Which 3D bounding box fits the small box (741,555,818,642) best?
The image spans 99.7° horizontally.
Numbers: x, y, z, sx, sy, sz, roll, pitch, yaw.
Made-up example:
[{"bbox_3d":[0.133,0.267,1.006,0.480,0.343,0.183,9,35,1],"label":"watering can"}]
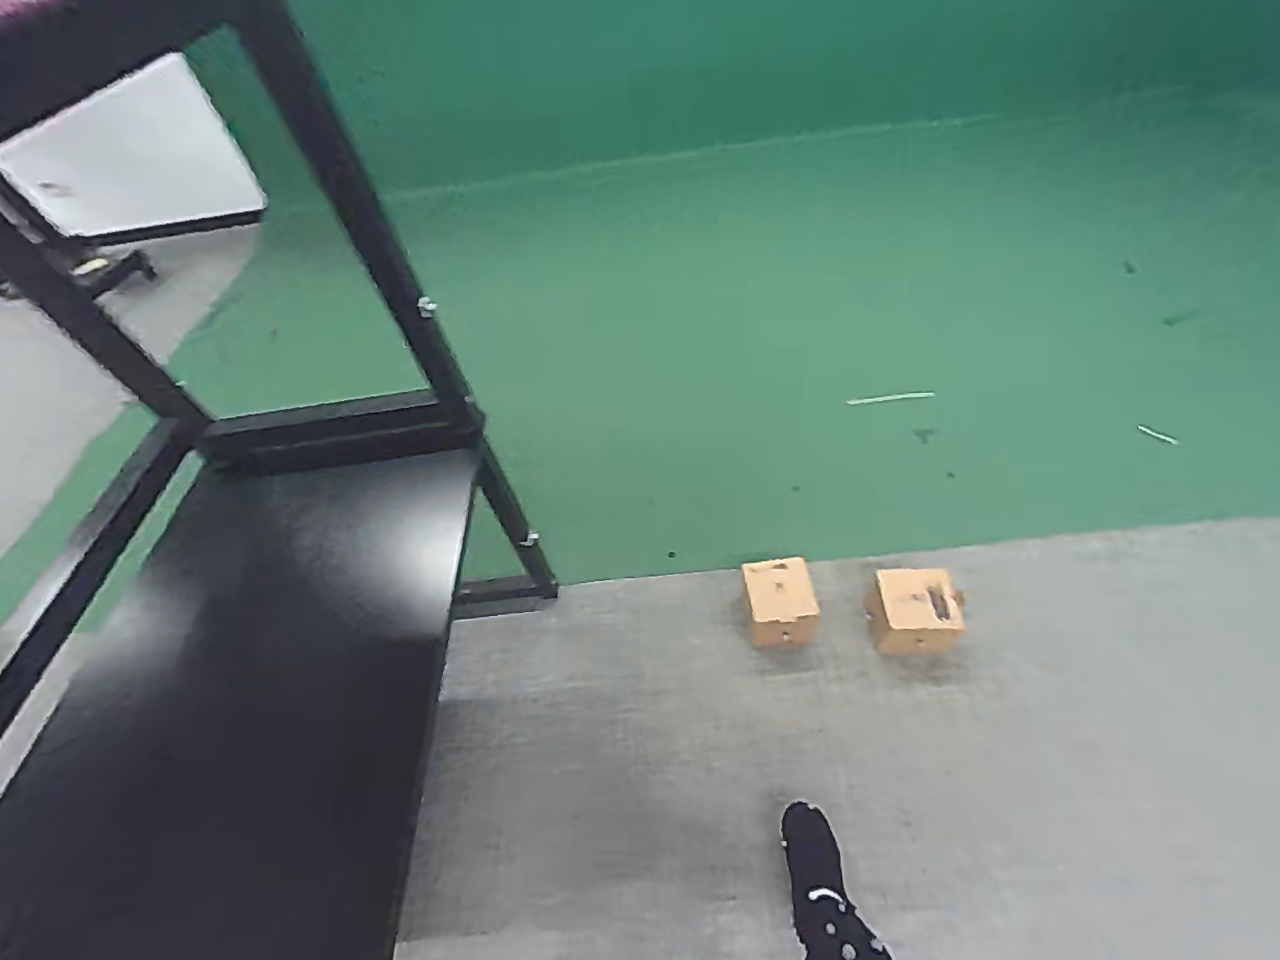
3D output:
[{"bbox_3d":[0.373,0.330,1.472,0.168,0.176,0.179,-8,51,3],"label":"small box"}]
